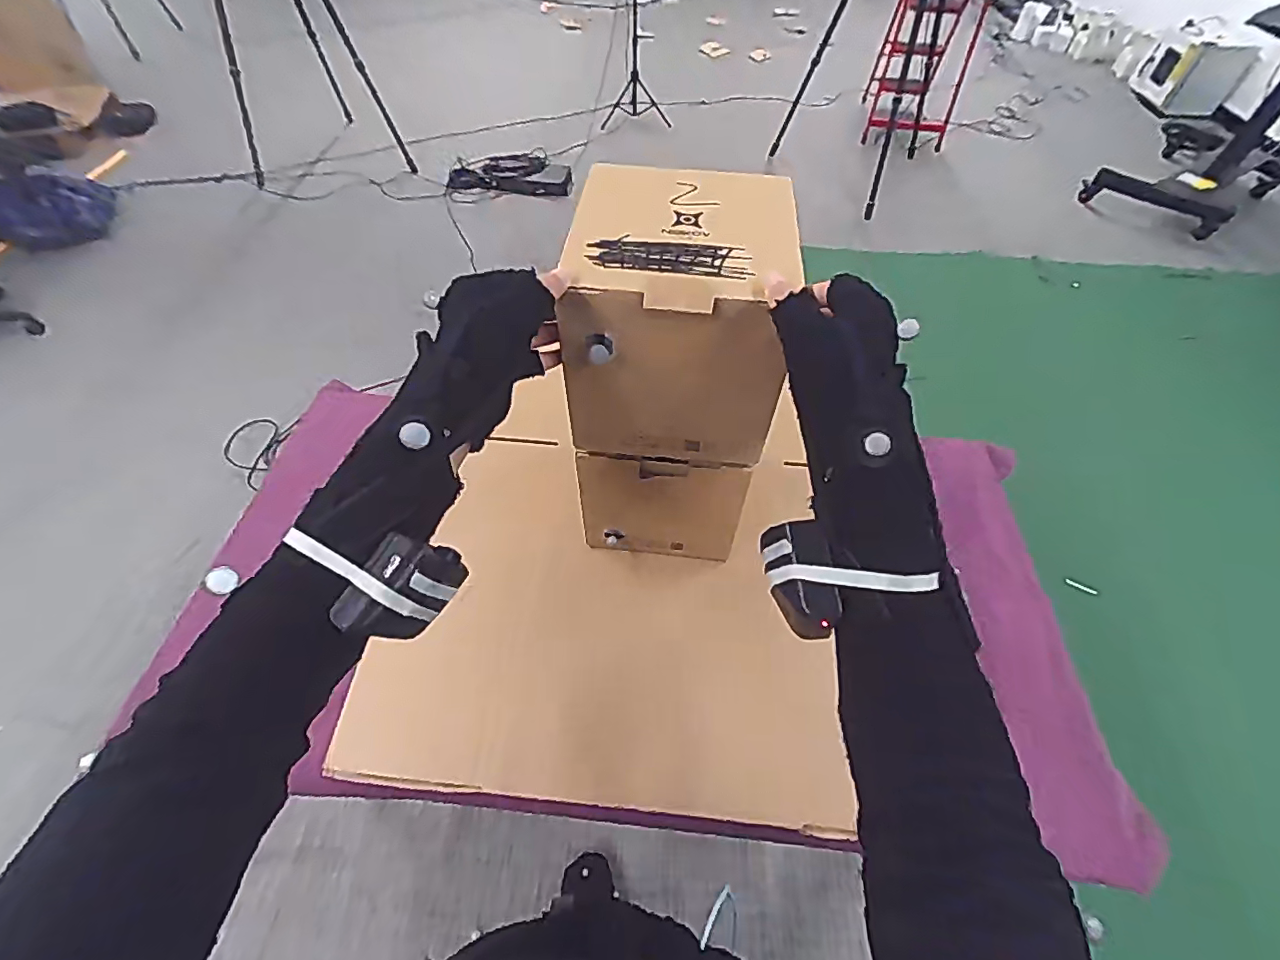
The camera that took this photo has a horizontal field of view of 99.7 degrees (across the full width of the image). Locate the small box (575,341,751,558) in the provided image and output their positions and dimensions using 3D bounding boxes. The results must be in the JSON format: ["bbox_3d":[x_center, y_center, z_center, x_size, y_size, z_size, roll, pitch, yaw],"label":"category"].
[{"bbox_3d":[0.030,-0.030,0.607,0.168,0.176,0.179,6,52,3],"label":"small box"}]
